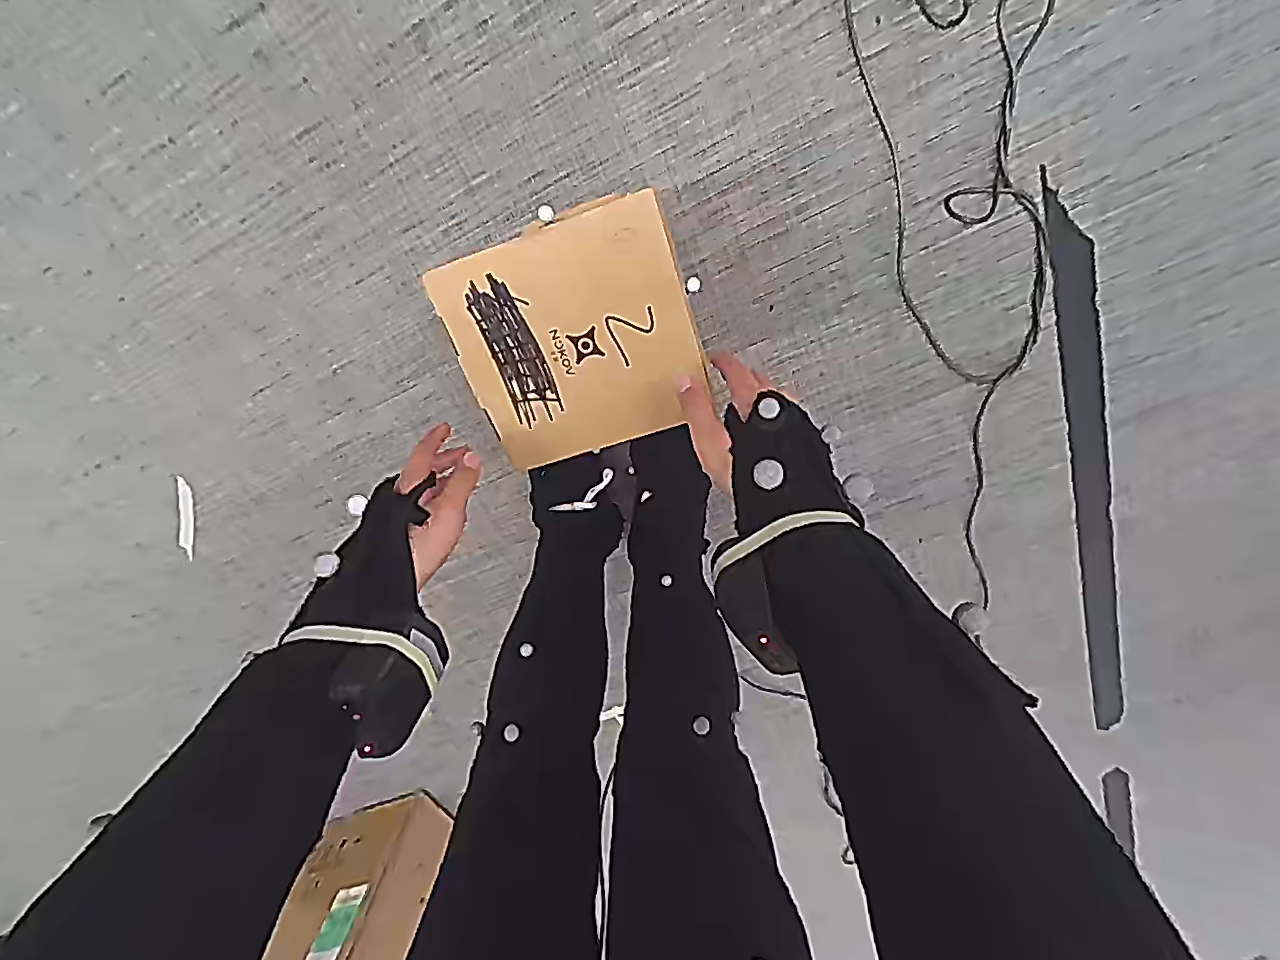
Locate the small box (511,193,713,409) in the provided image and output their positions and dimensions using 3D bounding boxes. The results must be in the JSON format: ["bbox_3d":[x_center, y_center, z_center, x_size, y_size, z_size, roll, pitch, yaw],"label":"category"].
[{"bbox_3d":[-0.023,-0.208,0.618,0.168,0.176,0.179,-15,117,10],"label":"small box"}]
